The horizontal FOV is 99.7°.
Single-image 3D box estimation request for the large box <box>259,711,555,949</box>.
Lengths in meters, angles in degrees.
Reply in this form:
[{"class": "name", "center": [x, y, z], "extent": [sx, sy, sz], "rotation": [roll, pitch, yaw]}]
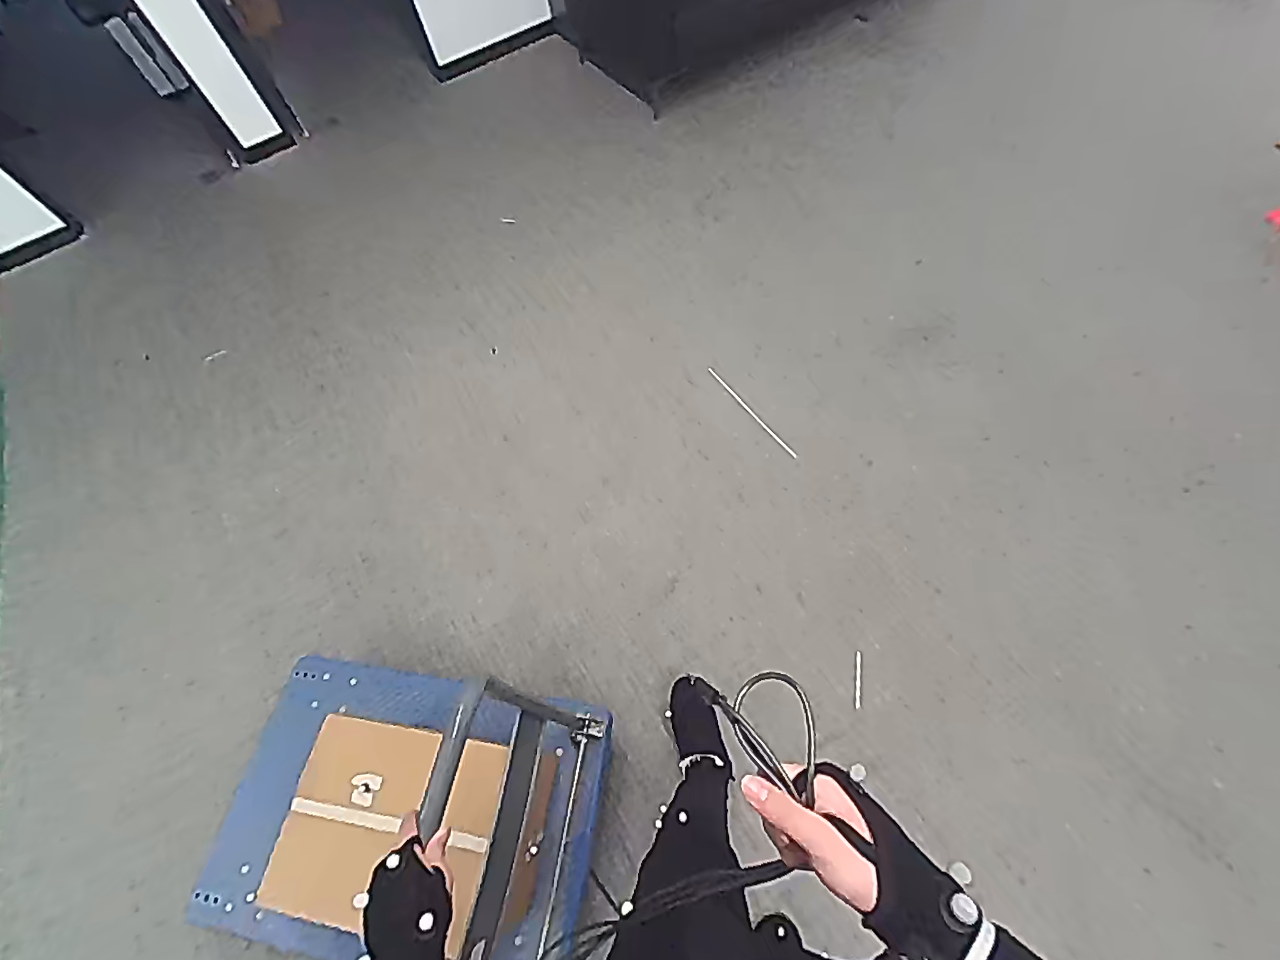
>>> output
[{"class": "large box", "center": [-0.426, 0.674, 1.097], "extent": [0.408, 0.320, 0.320], "rotation": [5, 62, 11]}]
